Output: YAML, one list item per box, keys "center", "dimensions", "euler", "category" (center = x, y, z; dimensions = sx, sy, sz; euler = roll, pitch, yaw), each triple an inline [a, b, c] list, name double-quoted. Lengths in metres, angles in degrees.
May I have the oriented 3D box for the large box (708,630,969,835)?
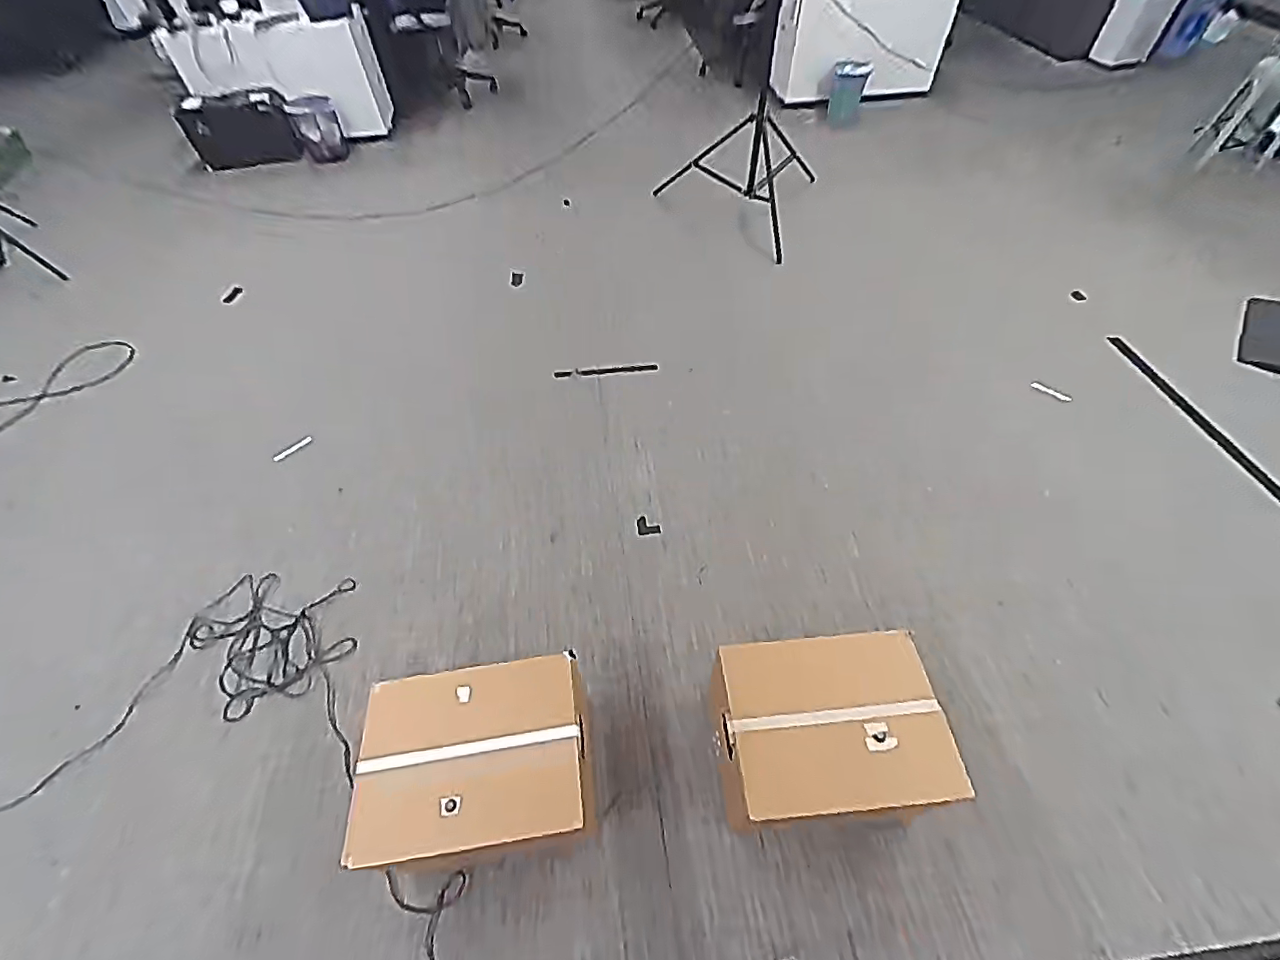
- center: [0.379, 0.545, 1.161]
  dimensions: [0.408, 0.320, 0.320]
  euler: [-4, 53, -2]
  category: "large box"
